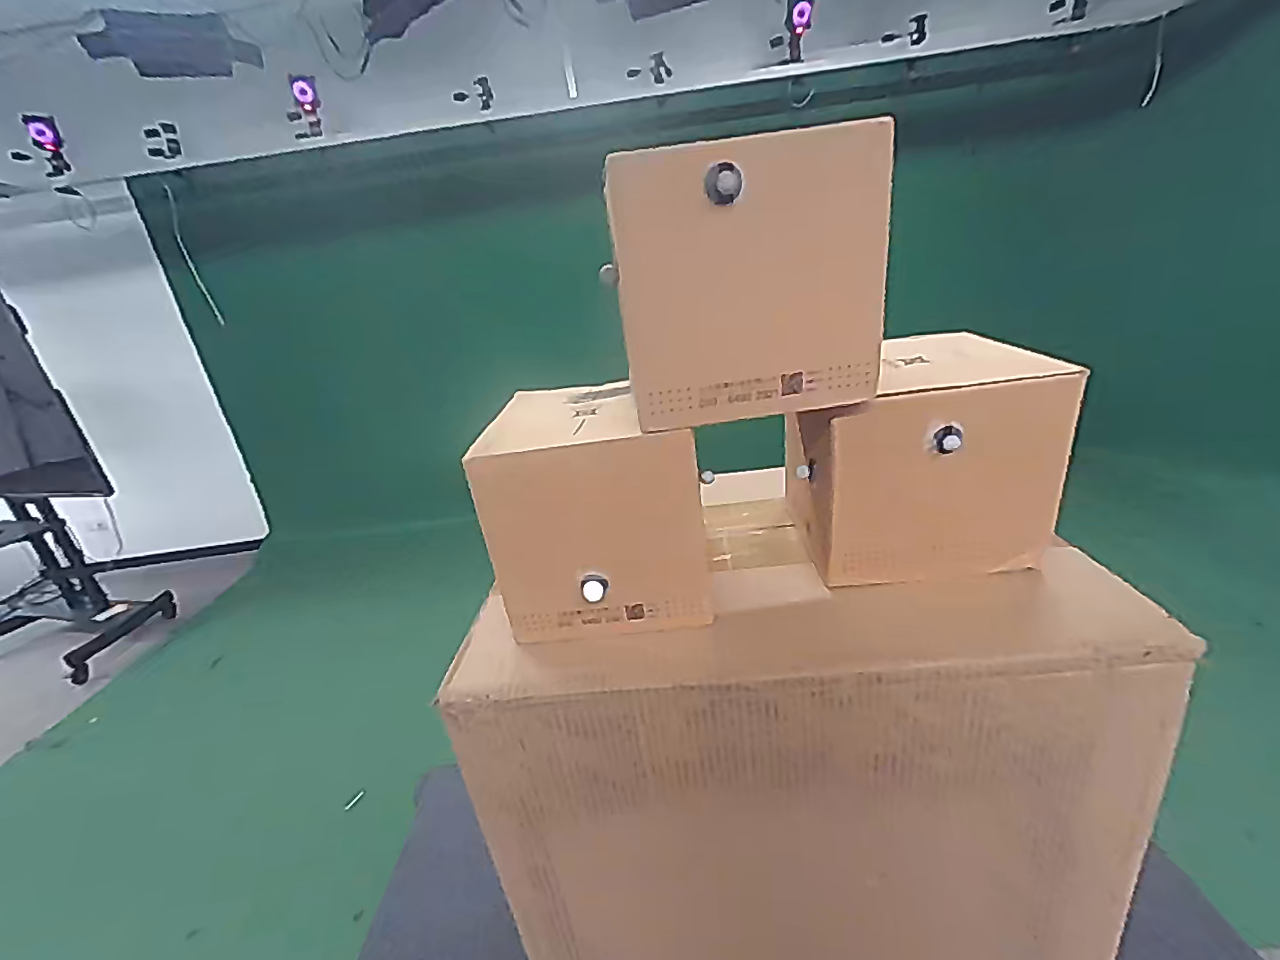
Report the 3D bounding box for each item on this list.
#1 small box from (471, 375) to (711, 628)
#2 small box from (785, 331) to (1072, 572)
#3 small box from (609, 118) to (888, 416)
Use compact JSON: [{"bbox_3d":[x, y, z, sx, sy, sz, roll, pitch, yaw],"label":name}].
[{"bbox_3d":[-0.028,0.009,0.487,0.168,0.176,0.179,-7,24,6],"label":"small box"},{"bbox_3d":[0.232,-0.030,0.490,0.179,0.176,0.168,-4,24,4],"label":"small box"},{"bbox_3d":[0.067,-0.156,0.419,0.168,0.176,0.179,-7,23,0],"label":"small box"}]
